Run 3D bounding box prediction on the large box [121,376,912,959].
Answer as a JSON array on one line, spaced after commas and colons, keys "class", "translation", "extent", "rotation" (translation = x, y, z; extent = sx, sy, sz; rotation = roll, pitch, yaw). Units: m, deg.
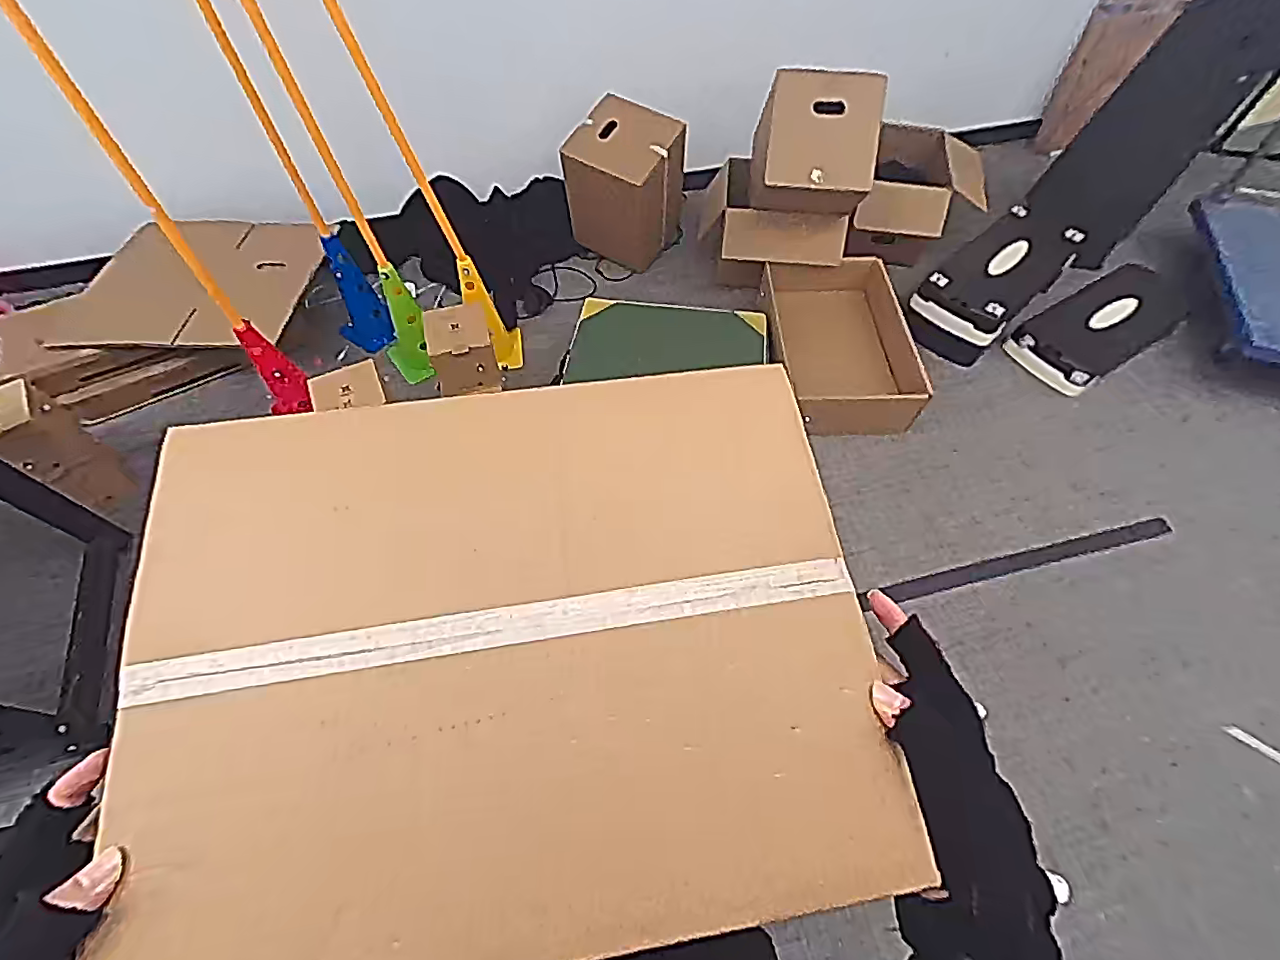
[{"class": "large box", "translation": [-0.080, 0.146, 0.460], "extent": [0.408, 0.320, 0.320], "rotation": [-7, 69, -6]}]
